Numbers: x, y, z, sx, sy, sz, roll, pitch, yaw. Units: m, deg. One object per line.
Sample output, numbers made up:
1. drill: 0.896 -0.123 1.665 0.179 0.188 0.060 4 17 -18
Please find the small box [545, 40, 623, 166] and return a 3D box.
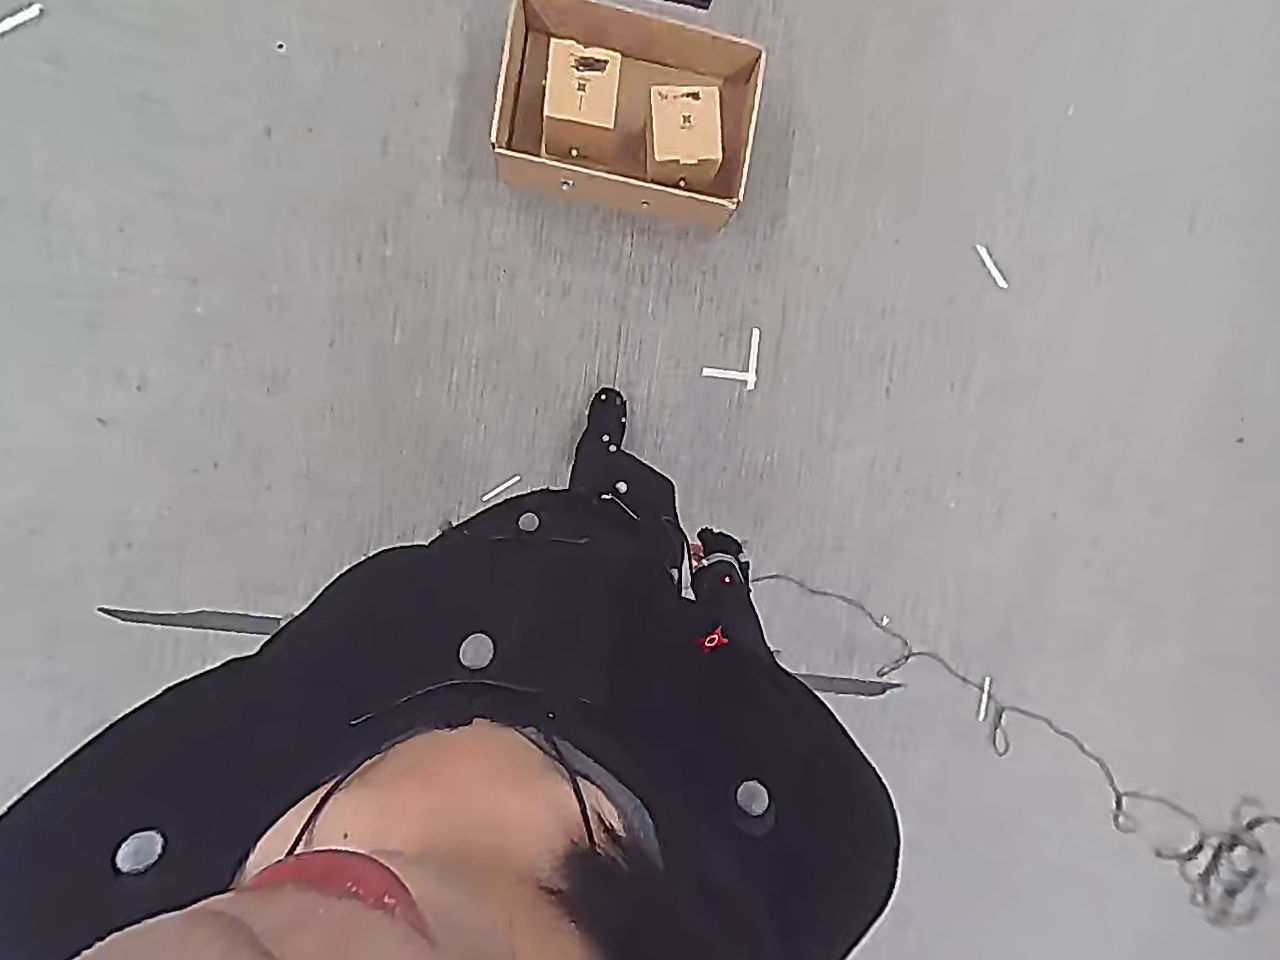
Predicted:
1. small box: -0.141 -0.913 1.324 0.168 0.176 0.179 6 92 -9
